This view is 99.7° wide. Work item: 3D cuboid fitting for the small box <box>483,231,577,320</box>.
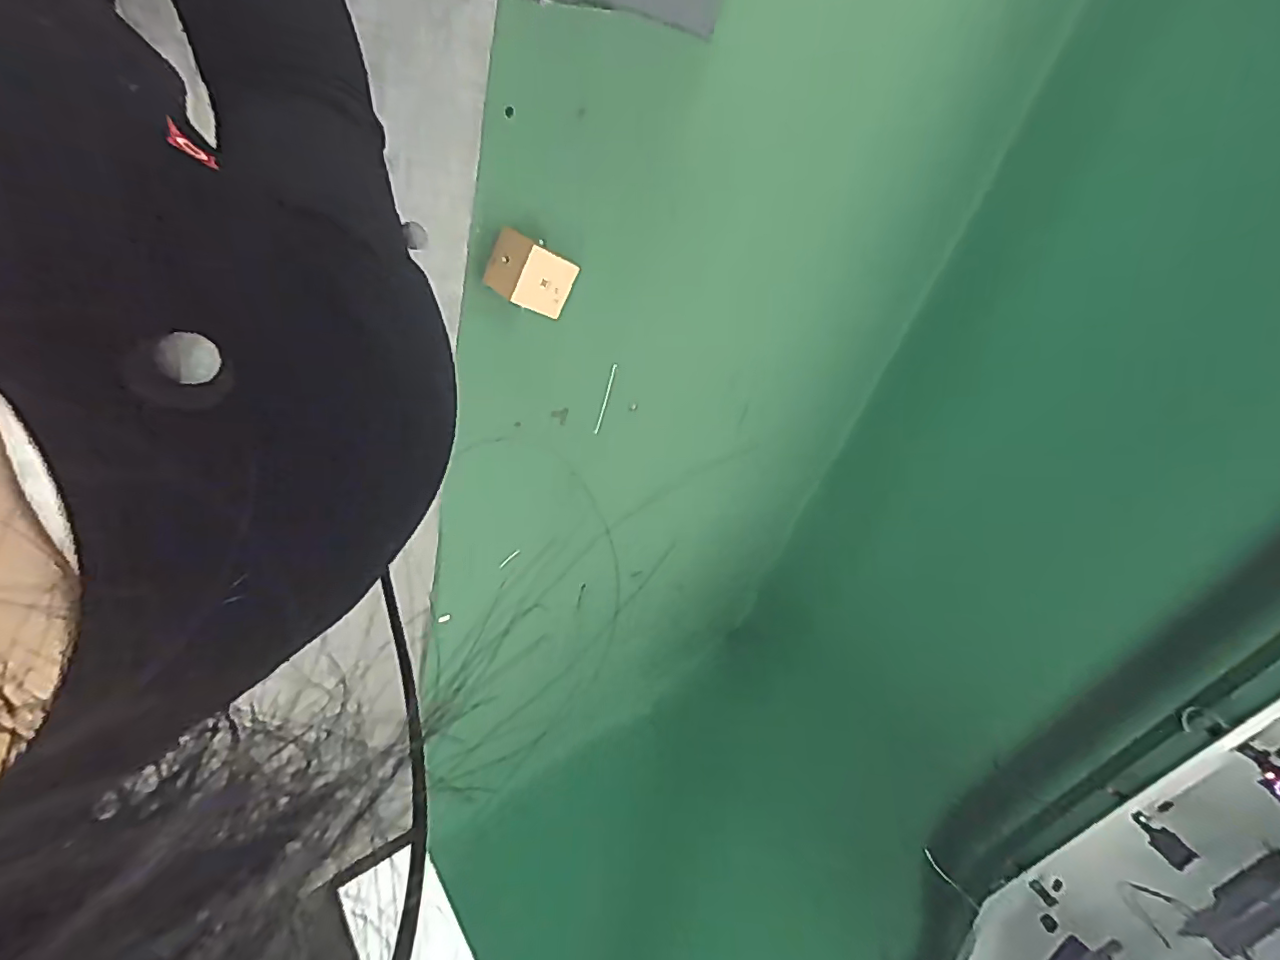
[{"bbox_3d":[-0.322,-0.595,1.563,0.179,0.176,0.168,6,120,-51],"label":"small box"}]
